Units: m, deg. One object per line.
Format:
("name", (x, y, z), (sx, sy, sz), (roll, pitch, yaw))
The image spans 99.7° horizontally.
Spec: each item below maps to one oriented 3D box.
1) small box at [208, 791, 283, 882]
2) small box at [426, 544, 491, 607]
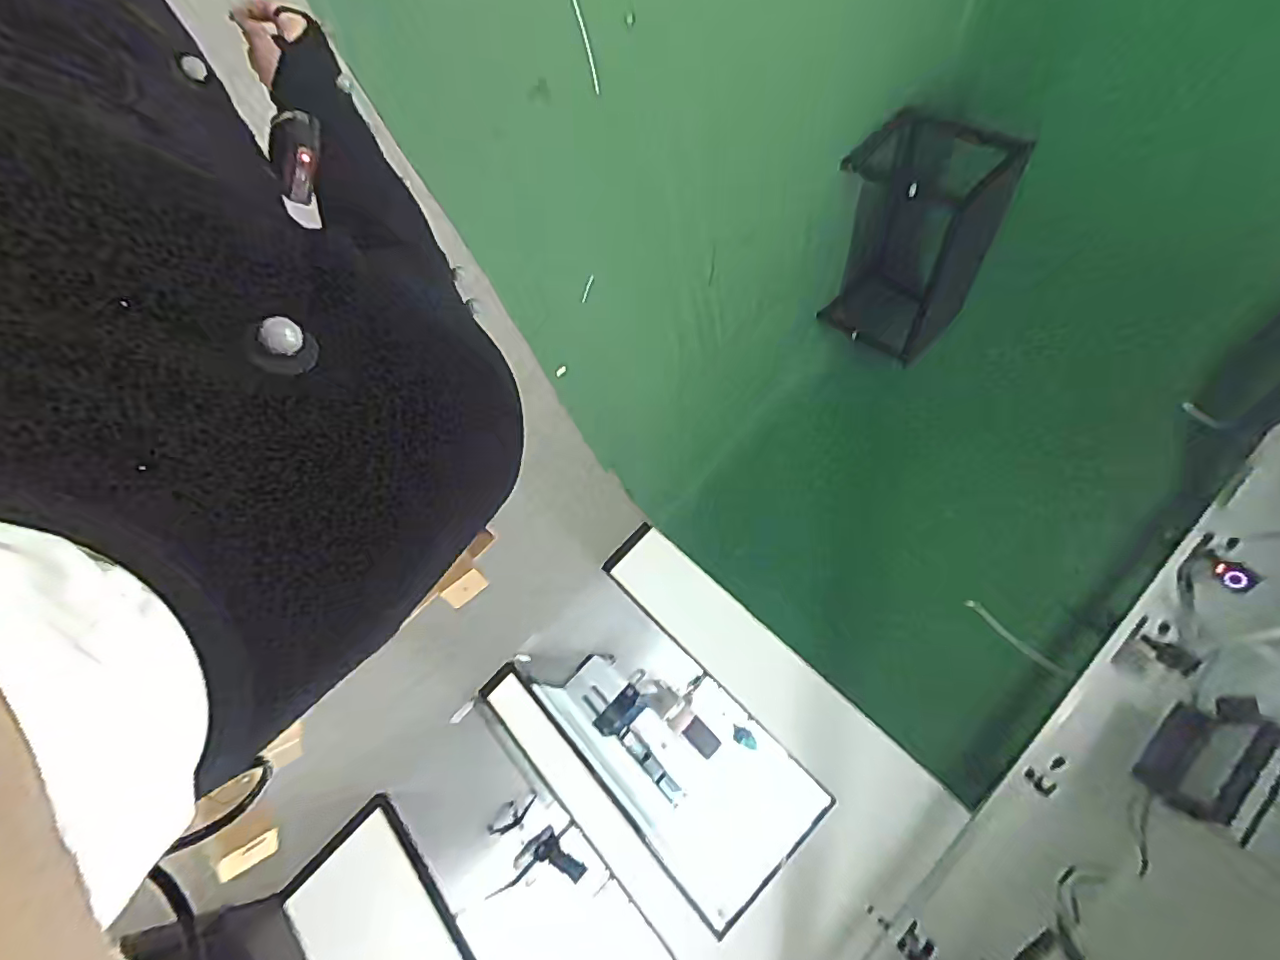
("small box", (-1.343, 1.204, 1.840), (0.168, 0.176, 0.179), (-17, 140, -47))
("small box", (-0.758, 0.396, 2.264), (0.168, 0.176, 0.179), (-38, 151, -16))
